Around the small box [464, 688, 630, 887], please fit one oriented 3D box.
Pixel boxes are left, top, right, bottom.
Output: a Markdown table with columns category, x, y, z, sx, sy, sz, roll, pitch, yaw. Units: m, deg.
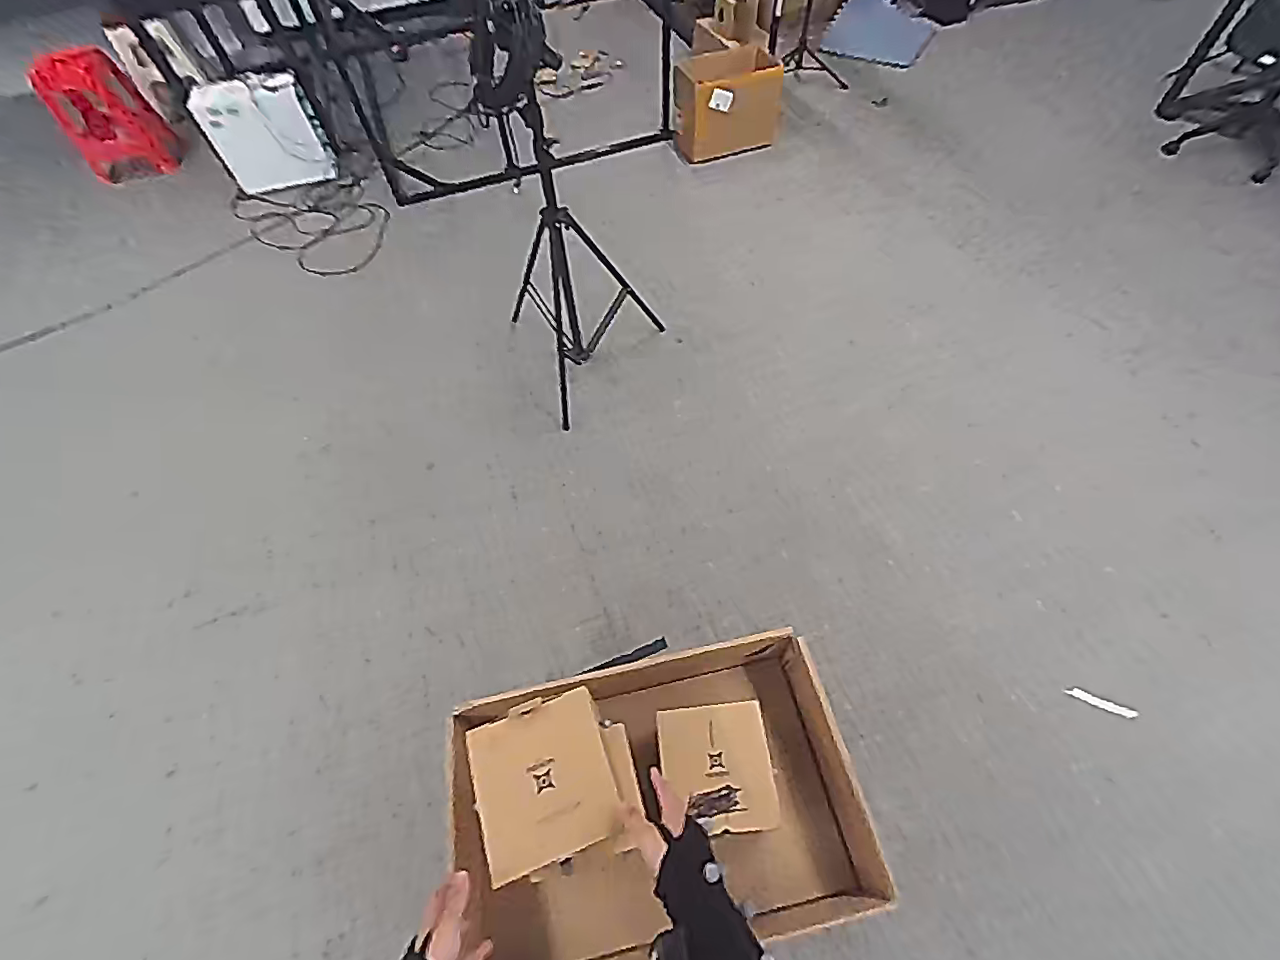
| category | x | y | z | sx | sy | sz | roll | pitch | yaw |
| --- | --- | --- | --- | --- | --- | --- | --- | --- | --- |
| small box | -0.119 | 0.411 | 0.728 | 0.168 | 0.176 | 0.179 | -19 | 58 | -9 |
